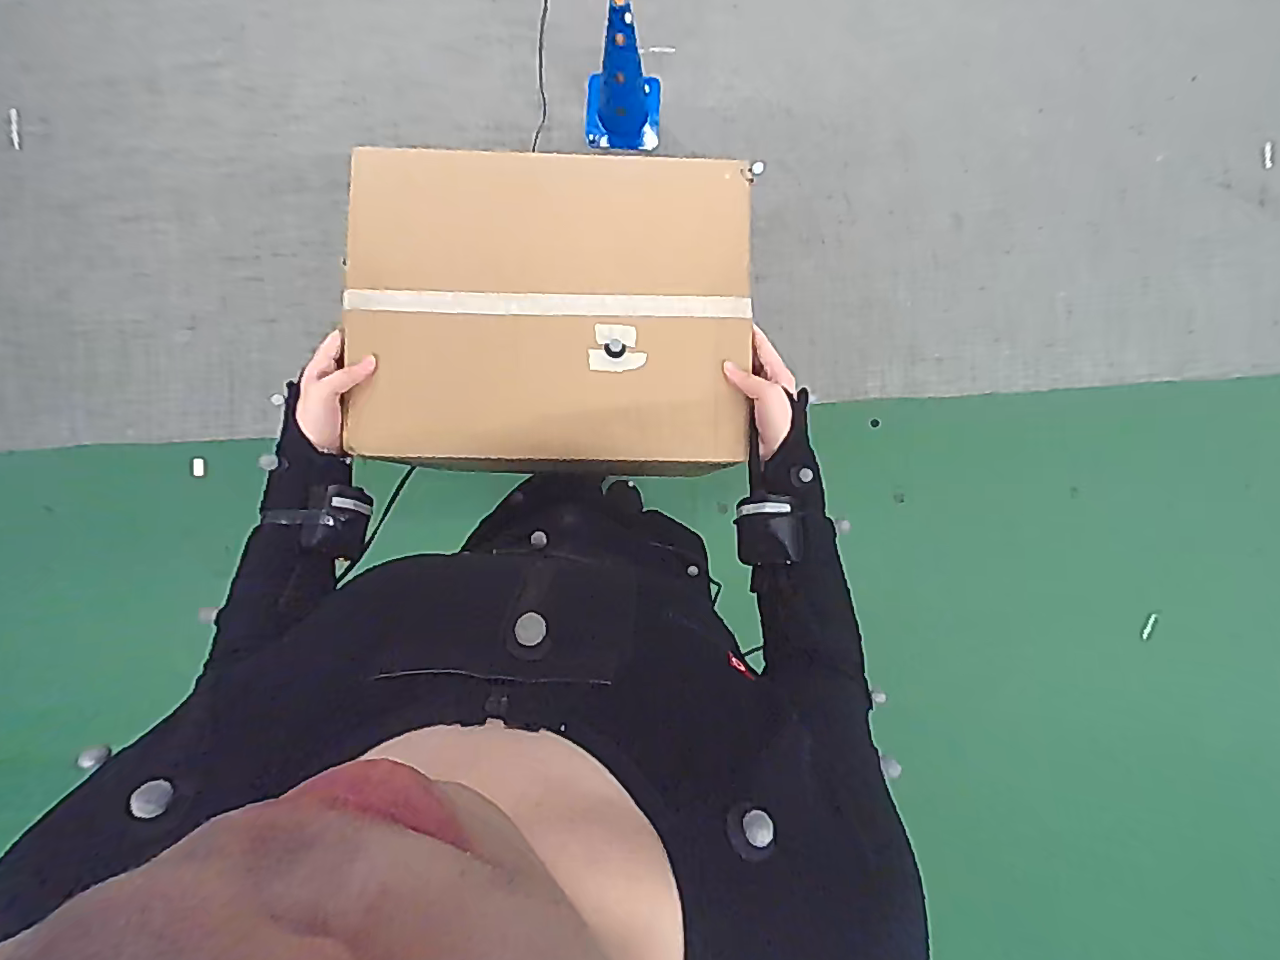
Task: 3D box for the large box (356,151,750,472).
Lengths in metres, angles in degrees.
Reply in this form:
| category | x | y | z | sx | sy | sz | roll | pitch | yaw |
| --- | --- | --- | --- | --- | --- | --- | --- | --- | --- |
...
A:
| category | x | y | z | sx | sy | sz | roll | pitch | yaw |
| --- | --- | --- | --- | --- | --- | --- | --- | --- | --- |
| large box | -0.095 | -0.176 | 0.701 | 0.408 | 0.320 | 0.320 | 1 | 88 | -3 |

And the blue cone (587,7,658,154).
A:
| category | x | y | z | sx | sy | sz | roll | pitch | yaw |
| --- | --- | --- | --- | --- | --- | --- | --- | --- | --- |
| blue cone | -0.046 | -0.997 | 1.324 | 0.193 | 0.380 | 0.192 | 5 | 92 | -1 |
